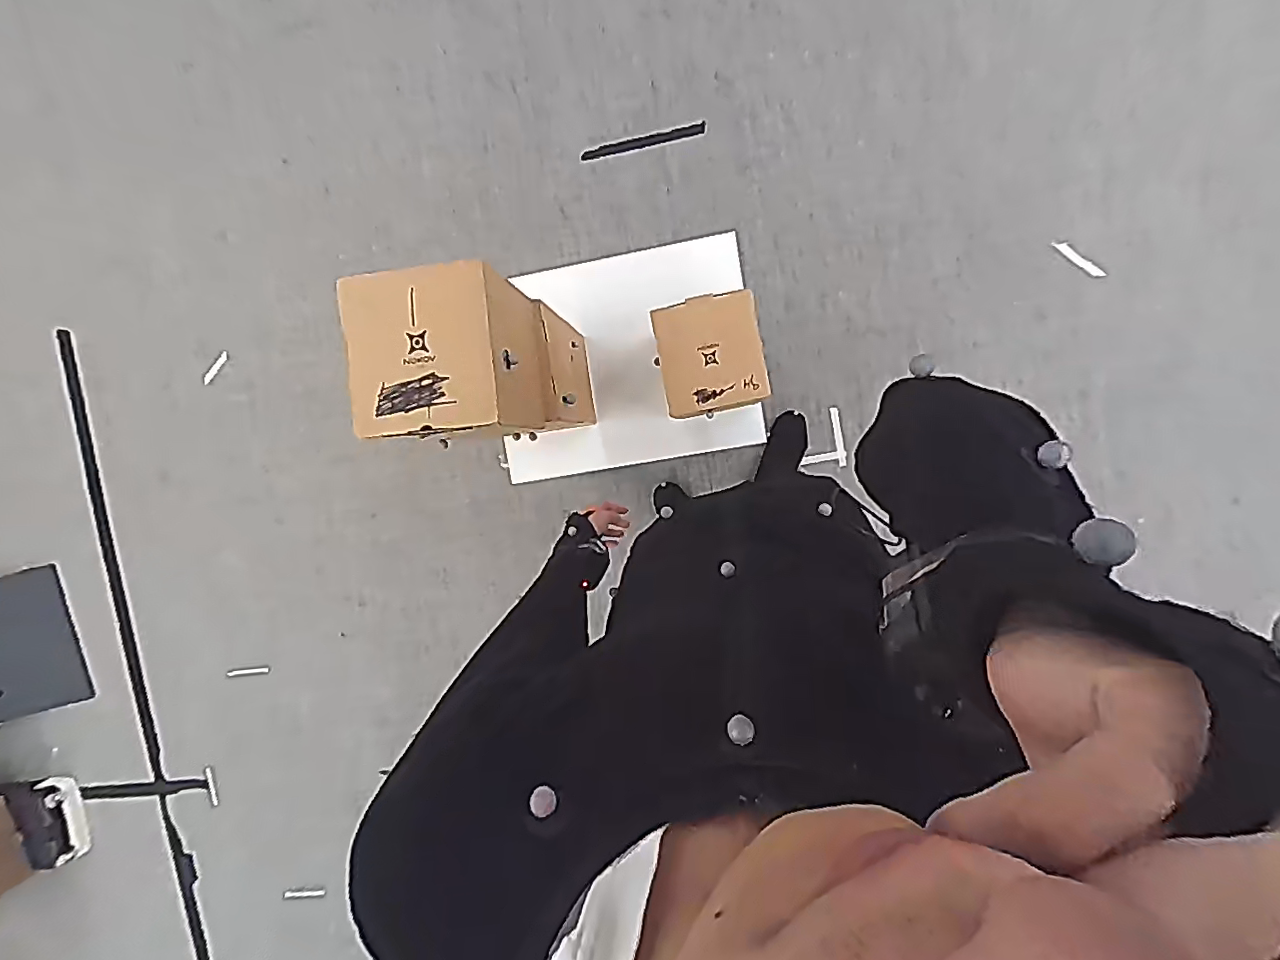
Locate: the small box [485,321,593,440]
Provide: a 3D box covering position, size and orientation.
[{"bbox_3d":[-0.187,-0.171,0.974,0.168,0.176,0.179,-8,93,6],"label":"small box"}]

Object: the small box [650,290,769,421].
[{"bbox_3d":[0.118,-0.205,0.939,0.168,0.176,0.179,-11,93,8],"label":"small box"}]

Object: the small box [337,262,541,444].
[{"bbox_3d":[-0.225,-0.138,0.649,0.168,0.176,0.179,-5,93,6],"label":"small box"}]
